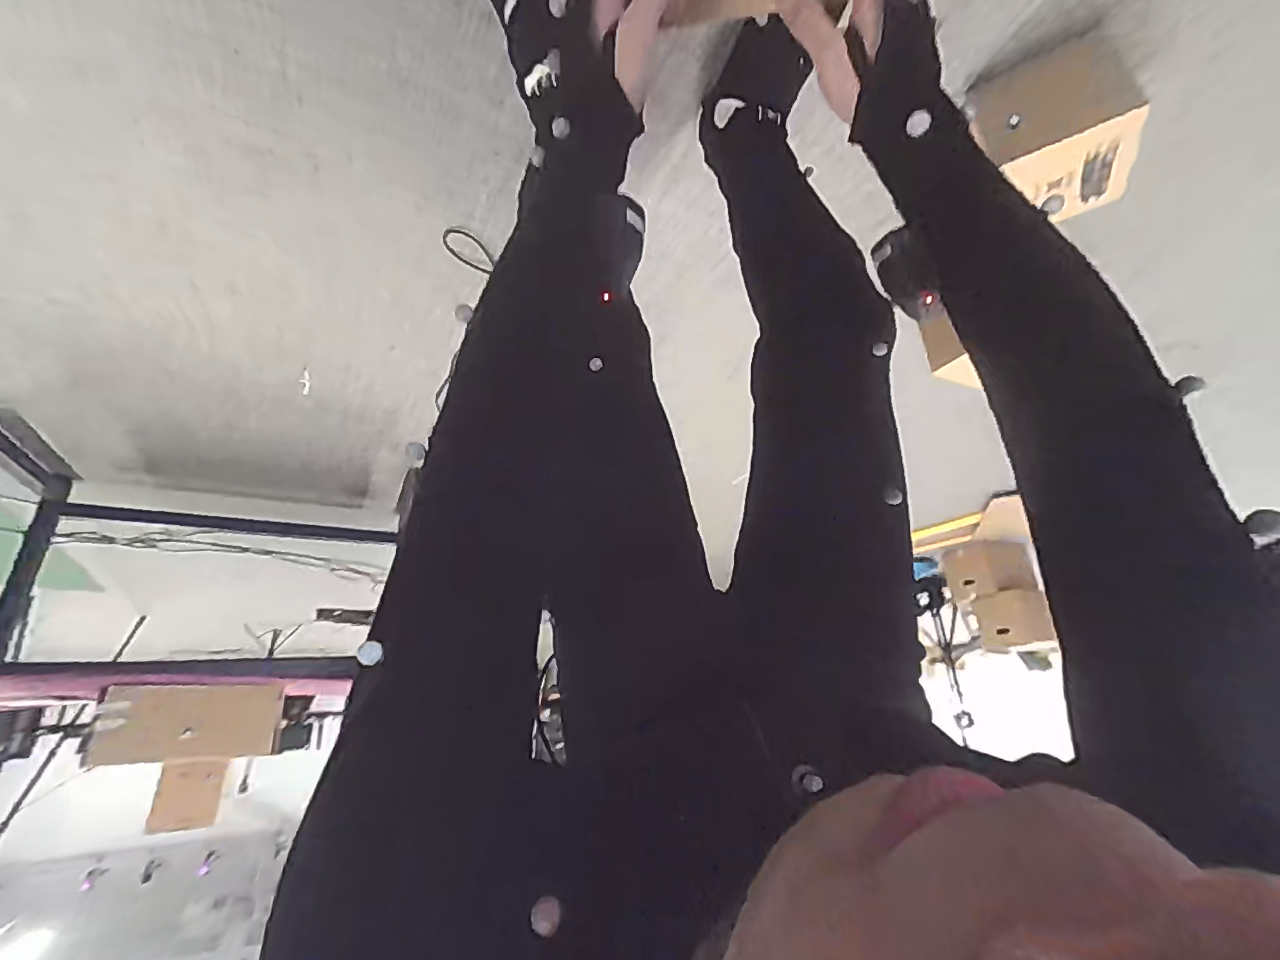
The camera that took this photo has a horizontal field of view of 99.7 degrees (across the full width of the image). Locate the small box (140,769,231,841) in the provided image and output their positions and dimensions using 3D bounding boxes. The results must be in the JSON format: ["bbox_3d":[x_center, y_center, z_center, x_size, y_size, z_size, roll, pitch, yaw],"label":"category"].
[{"bbox_3d":[-1.373,0.978,1.646,0.168,0.176,0.179,11,152,-27],"label":"small box"}]

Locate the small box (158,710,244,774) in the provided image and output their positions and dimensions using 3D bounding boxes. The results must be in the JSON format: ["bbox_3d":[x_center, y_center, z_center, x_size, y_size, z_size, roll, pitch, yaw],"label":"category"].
[{"bbox_3d":[-1.377,0.826,1.709,0.168,0.176,0.179,11,151,-27],"label":"small box"}]

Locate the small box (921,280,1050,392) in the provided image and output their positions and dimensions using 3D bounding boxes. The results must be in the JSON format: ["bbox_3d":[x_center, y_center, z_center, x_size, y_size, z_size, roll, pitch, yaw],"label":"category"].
[{"bbox_3d":[0.785,-0.331,1.246,0.179,0.176,0.168,9,155,-25],"label":"small box"}]

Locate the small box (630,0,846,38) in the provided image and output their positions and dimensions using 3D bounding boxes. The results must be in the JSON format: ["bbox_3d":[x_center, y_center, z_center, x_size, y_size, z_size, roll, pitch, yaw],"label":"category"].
[{"bbox_3d":[0.065,-0.466,0.384,0.168,0.176,0.179,-3,150,8],"label":"small box"}]
